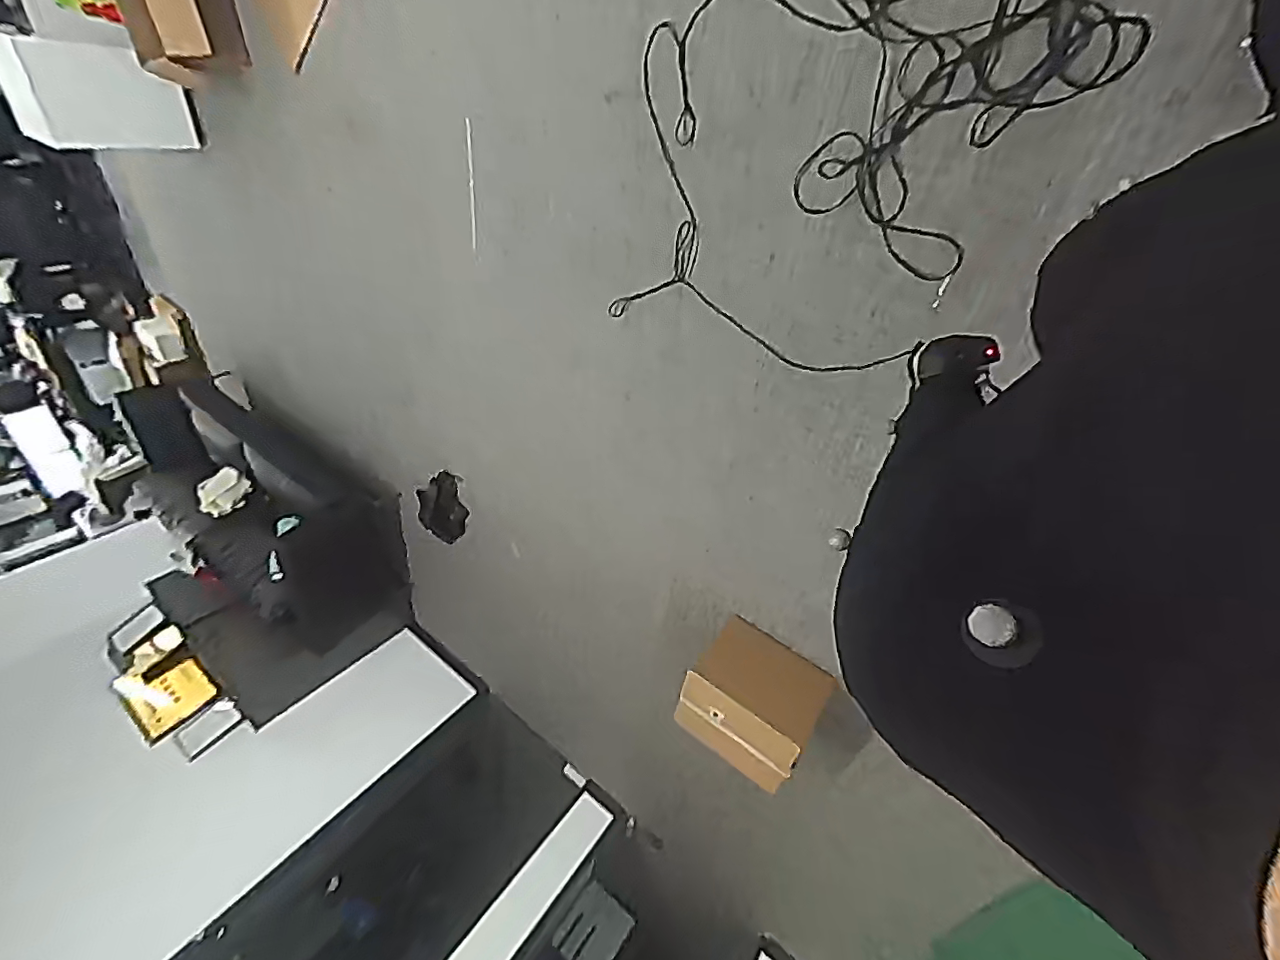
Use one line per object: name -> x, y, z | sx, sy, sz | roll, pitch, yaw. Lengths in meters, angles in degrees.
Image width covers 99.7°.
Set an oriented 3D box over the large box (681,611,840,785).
large box -> 0.409, 0.735, 1.863 | 0.408, 0.320, 0.320 | 30, 131, 26
